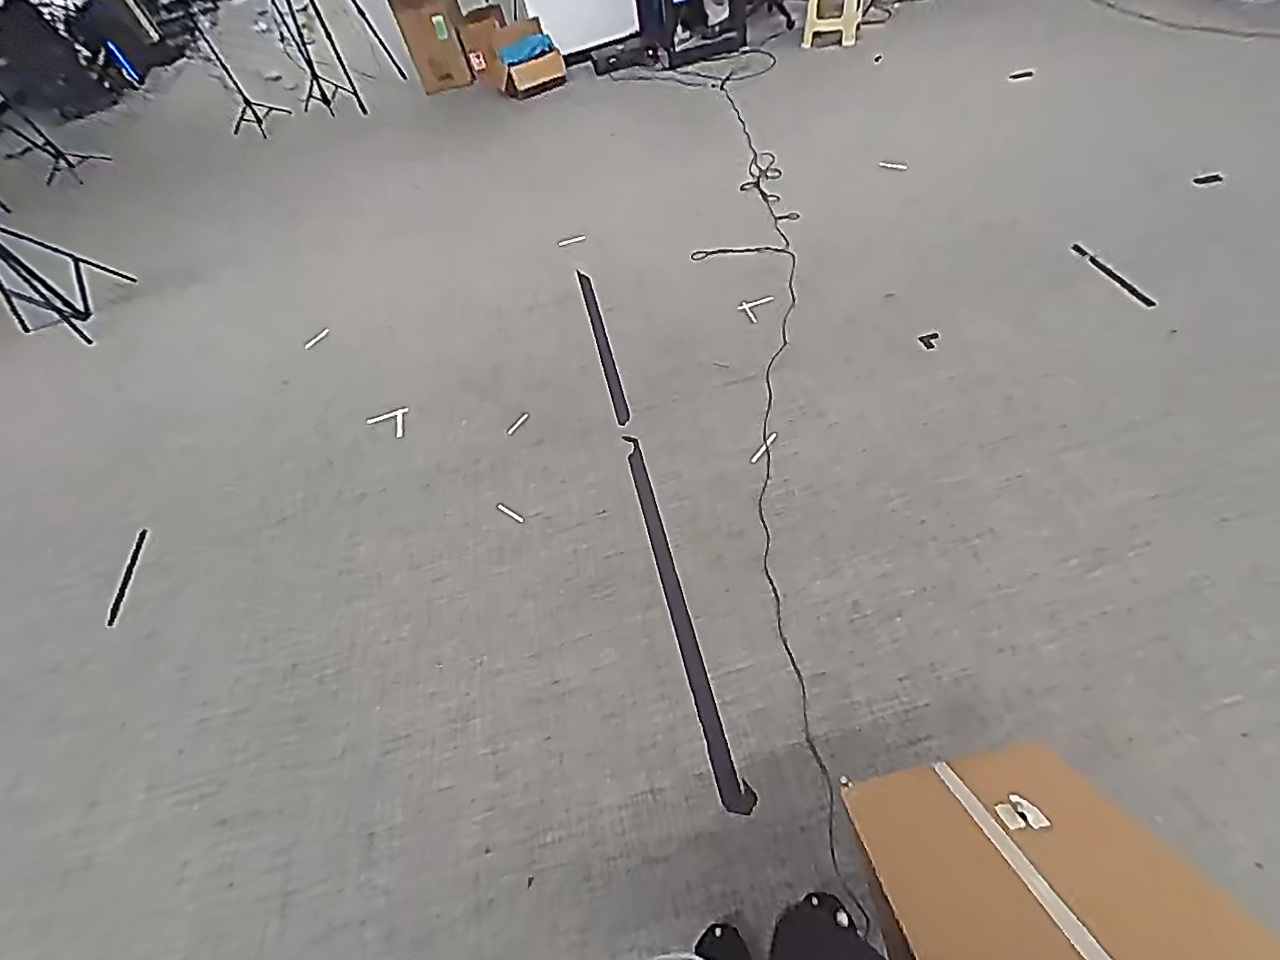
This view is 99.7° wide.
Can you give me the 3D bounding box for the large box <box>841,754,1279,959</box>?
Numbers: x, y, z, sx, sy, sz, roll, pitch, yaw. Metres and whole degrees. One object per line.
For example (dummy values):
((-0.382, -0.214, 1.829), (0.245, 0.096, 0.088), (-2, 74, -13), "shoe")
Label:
((0.492, 0.614, 0.648), (0.320, 0.408, 0.320), (-15, 91, 5), "large box")
